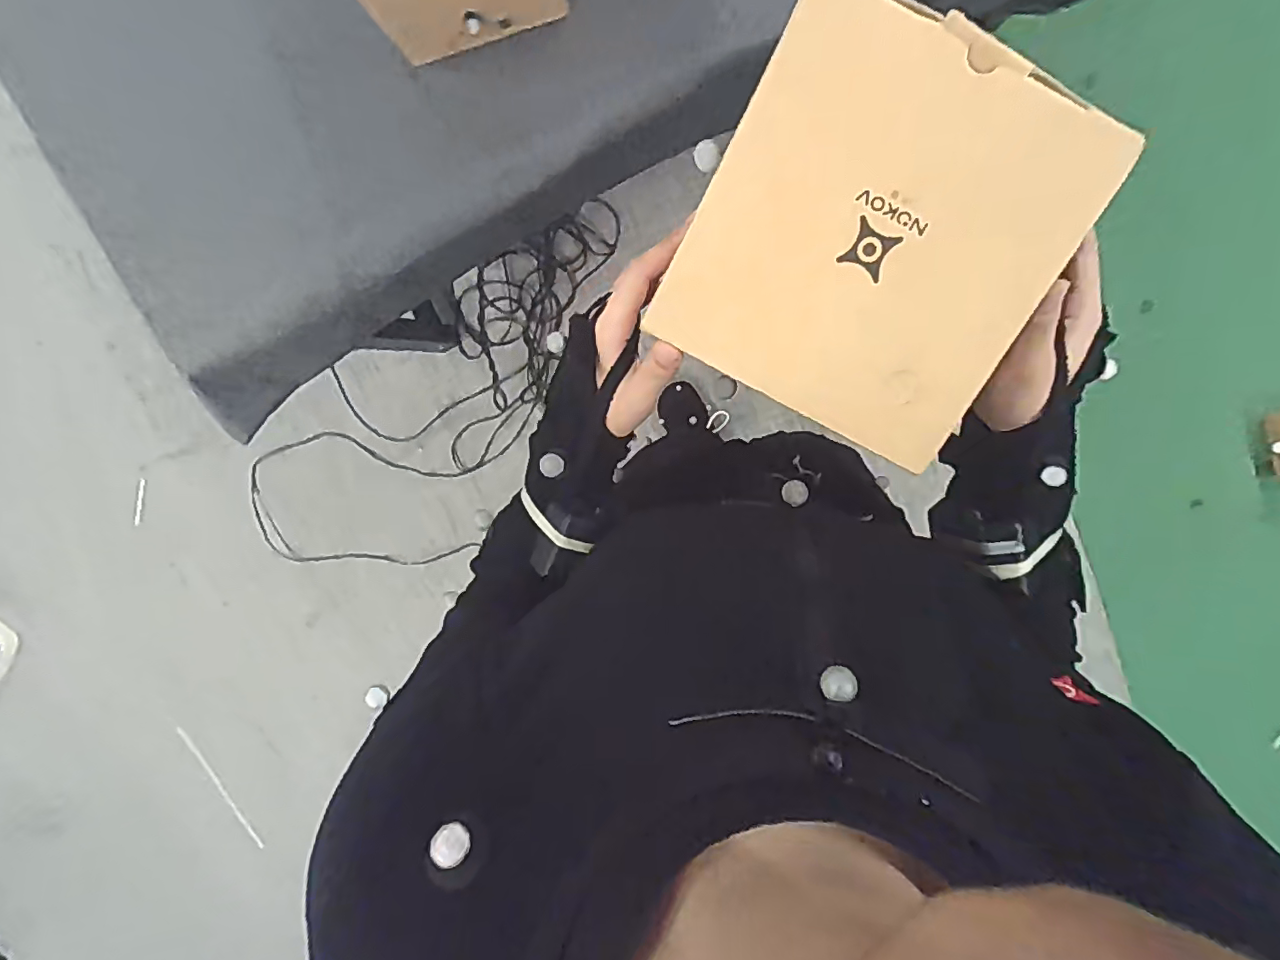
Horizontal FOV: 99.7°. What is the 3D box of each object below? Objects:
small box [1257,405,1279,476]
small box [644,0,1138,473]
[{"bbox_3d":[1.536,-0.100,1.178,0.179,0.176,0.168,-24,98,8],"label":"small box"},{"bbox_3d":[0.120,-0.131,0.335,0.168,0.176,0.179,28,104,-2],"label":"small box"}]
